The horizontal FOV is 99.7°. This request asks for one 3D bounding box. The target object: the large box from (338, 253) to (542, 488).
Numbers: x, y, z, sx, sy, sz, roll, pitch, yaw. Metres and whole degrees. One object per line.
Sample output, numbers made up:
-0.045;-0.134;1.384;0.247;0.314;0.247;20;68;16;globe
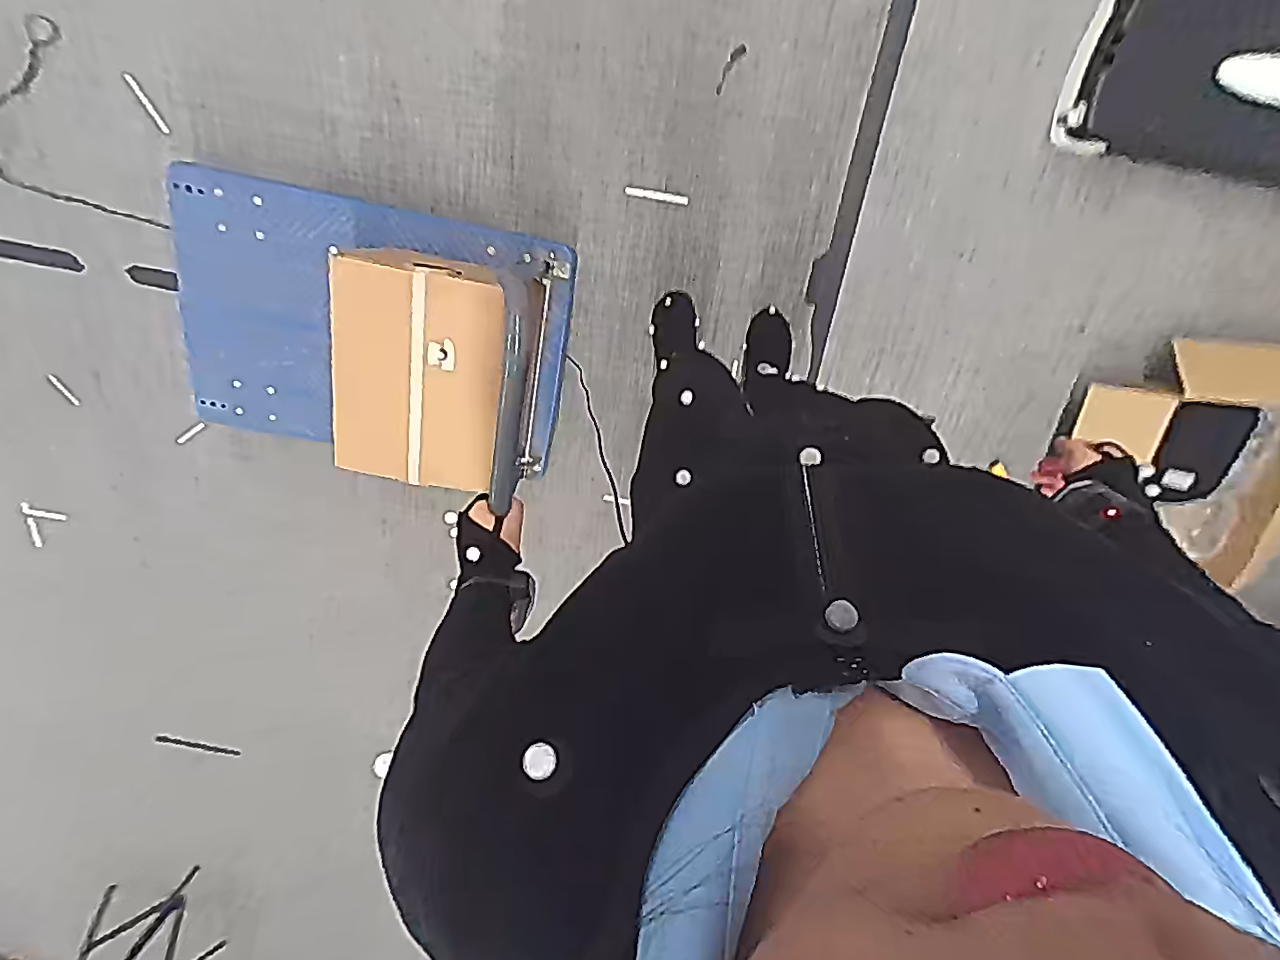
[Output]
-0.406;-0.242;1.155;0.320;0.320;0.408;10;112;-5;large box
